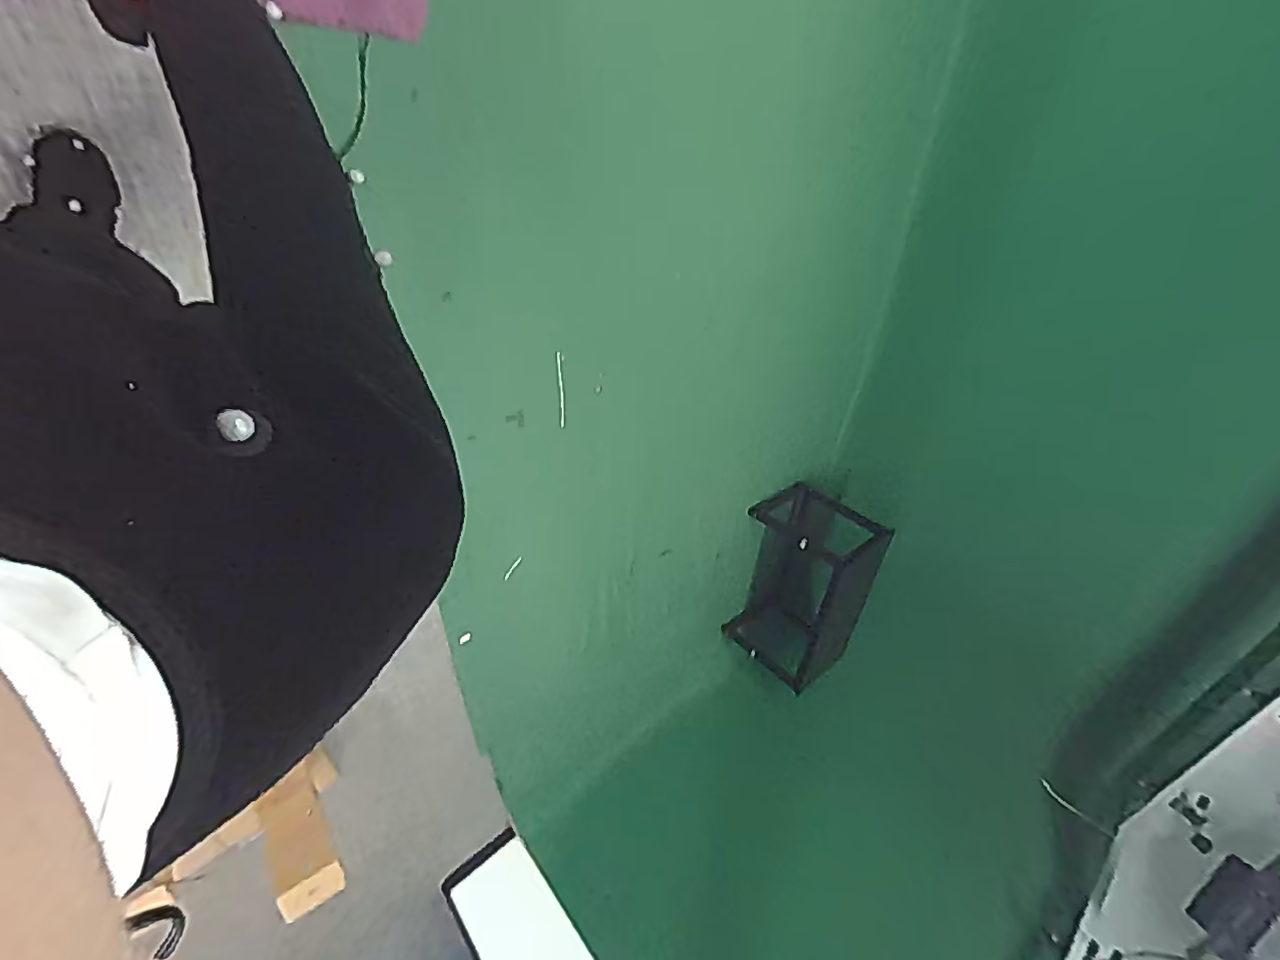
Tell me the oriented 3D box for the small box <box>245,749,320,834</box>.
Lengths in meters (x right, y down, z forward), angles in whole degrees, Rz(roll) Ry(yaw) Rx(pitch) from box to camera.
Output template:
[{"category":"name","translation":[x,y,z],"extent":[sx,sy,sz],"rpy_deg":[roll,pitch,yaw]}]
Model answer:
[{"category":"small box","translation":[-1.301,1.124,1.967],"extent":[0.179,0.176,0.168],"rpy_deg":[-21,131,-35]}]

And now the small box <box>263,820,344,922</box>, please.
[{"category":"small box","translation":[-1.092,1.259,1.755],"extent":[0.179,0.176,0.168],"rpy_deg":[-19,129,-37]}]

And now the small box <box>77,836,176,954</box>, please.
[{"category":"small box","translation":[-1.481,1.190,1.561],"extent":[0.179,0.176,0.168],"rpy_deg":[-17,129,-40]}]

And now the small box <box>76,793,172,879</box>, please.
[{"category":"small box","translation":[-1.589,1.122,1.667],"extent":[0.179,0.176,0.168],"rpy_deg":[-21,131,-37]}]
